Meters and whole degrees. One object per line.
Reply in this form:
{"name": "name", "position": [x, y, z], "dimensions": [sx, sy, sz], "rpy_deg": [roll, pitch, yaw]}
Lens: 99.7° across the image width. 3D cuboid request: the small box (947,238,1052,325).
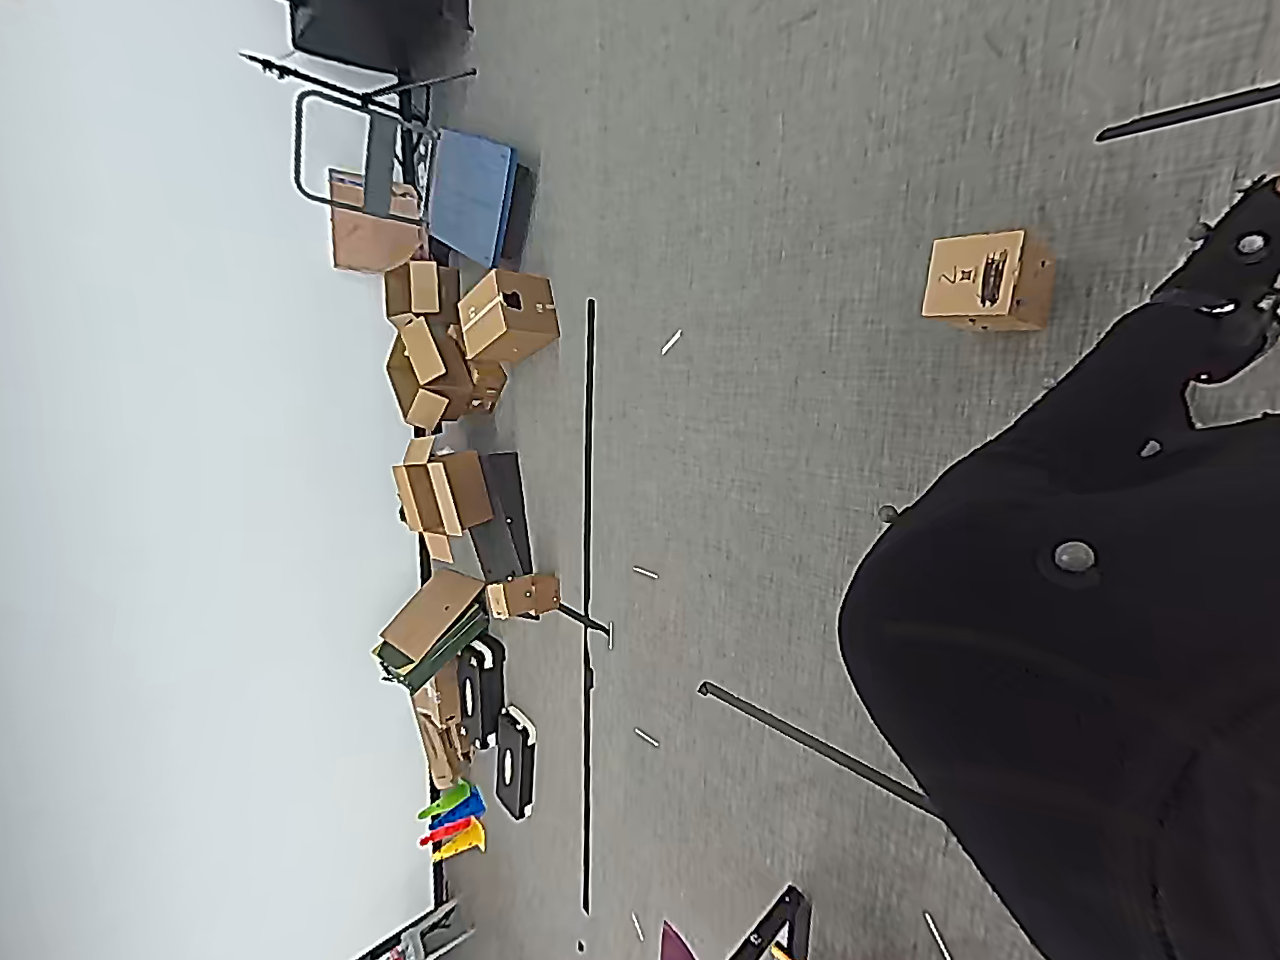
{"name": "small box", "position": [0.877, -0.473, 1.316], "dimensions": [0.168, 0.176, 0.179], "rpy_deg": [14, 106, 45]}
